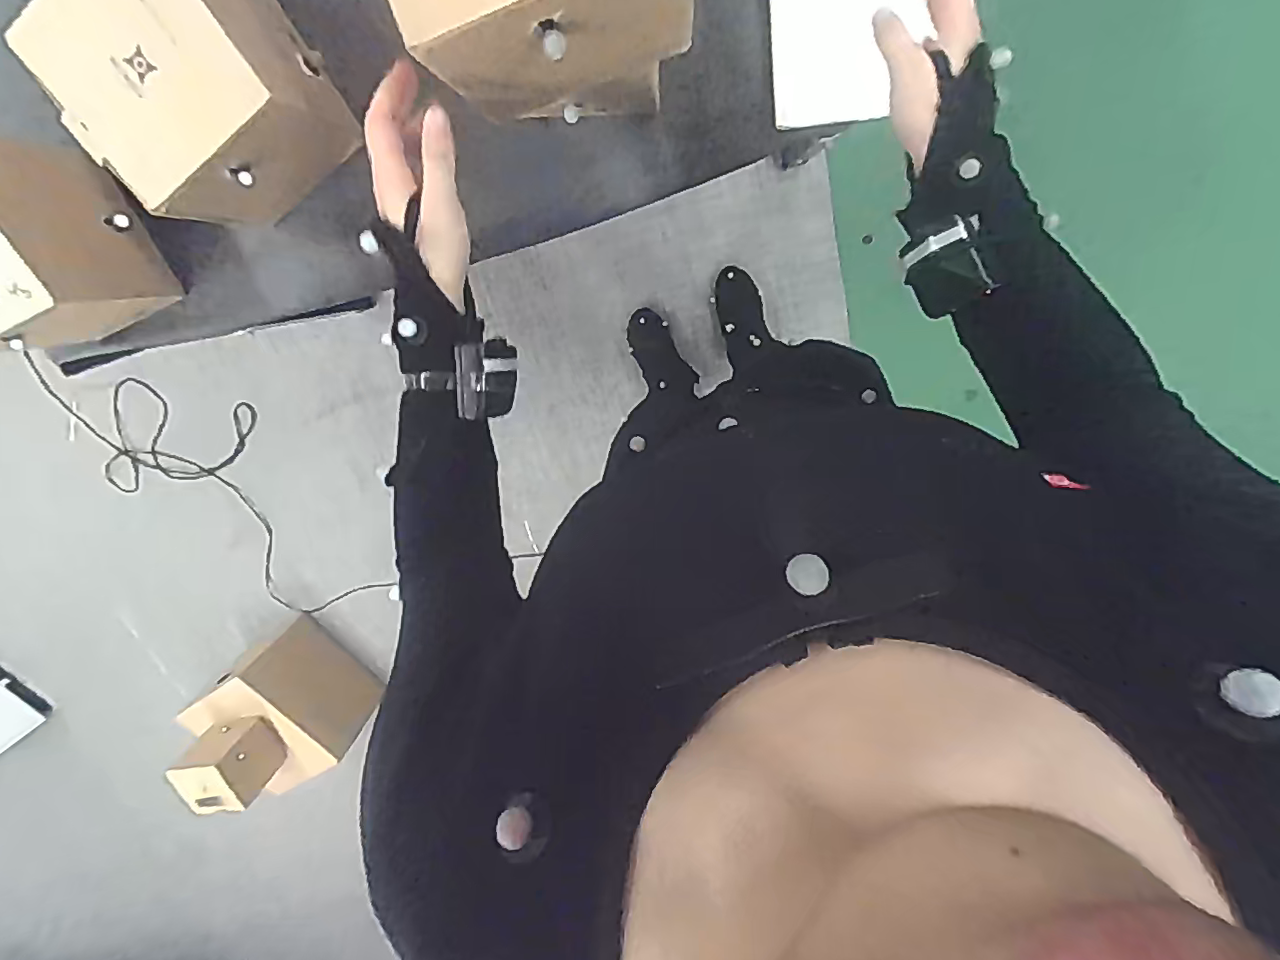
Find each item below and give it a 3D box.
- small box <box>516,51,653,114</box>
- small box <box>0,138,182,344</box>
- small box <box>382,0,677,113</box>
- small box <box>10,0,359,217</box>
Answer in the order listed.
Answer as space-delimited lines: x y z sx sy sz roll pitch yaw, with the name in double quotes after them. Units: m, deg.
-0.073 -0.458 0.492 0.168 0.176 0.179 1 112 5 "small box"
-0.702 -0.266 0.620 0.168 0.176 0.179 -19 110 11 "small box"
-0.076 -0.375 0.350 0.179 0.176 0.168 -15 110 11 "small box"
-0.435 -0.392 0.550 0.179 0.176 0.168 -29 108 14 "small box"
